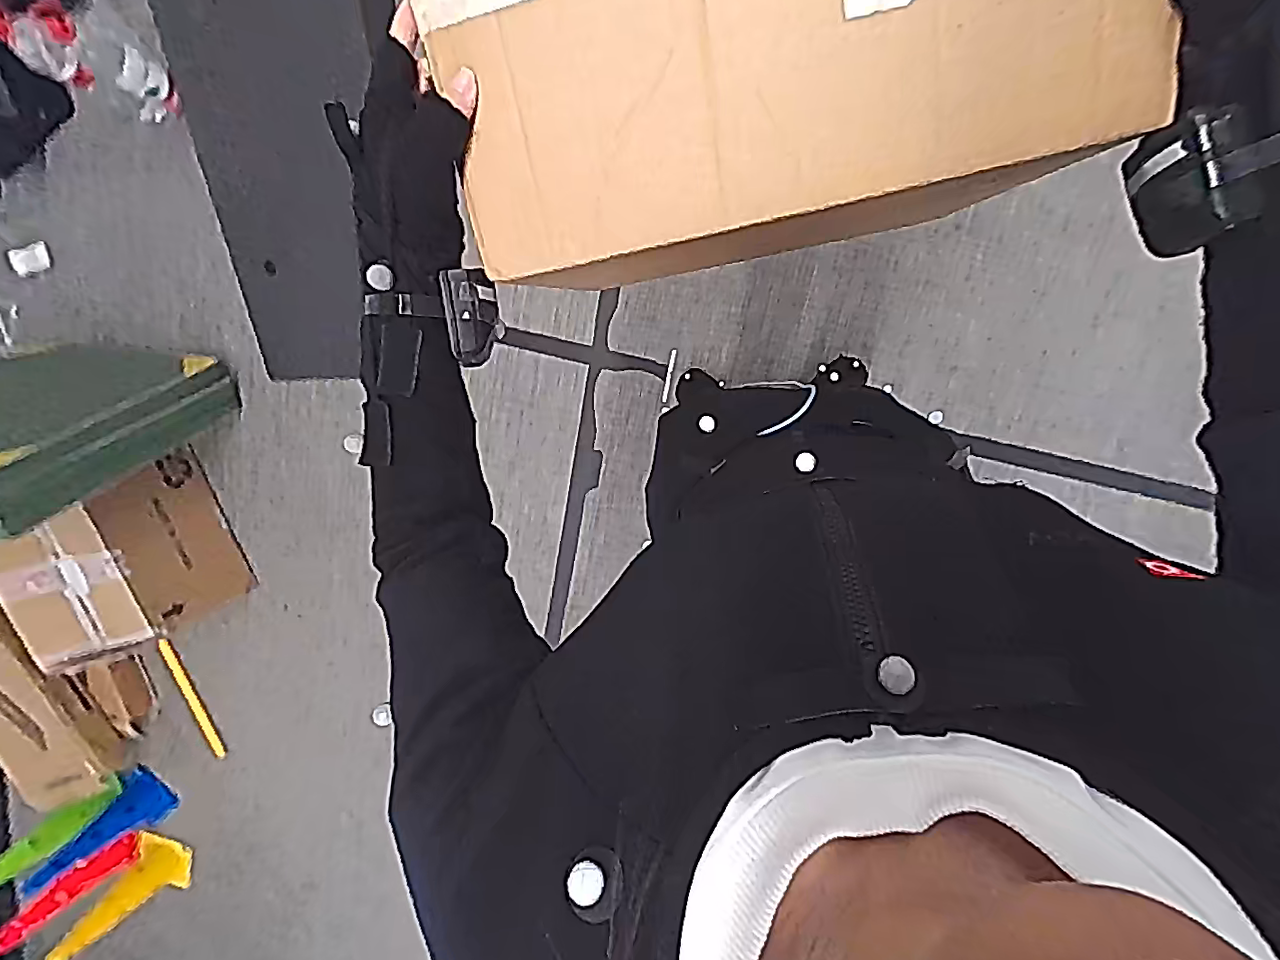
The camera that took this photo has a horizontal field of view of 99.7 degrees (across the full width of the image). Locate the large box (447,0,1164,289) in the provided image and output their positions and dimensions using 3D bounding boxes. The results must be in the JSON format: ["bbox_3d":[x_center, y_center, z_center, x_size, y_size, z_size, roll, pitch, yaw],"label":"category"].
[{"bbox_3d":[0.091,-0.362,0.444,0.408,0.320,0.320,-8,107,10],"label":"large box"}]
